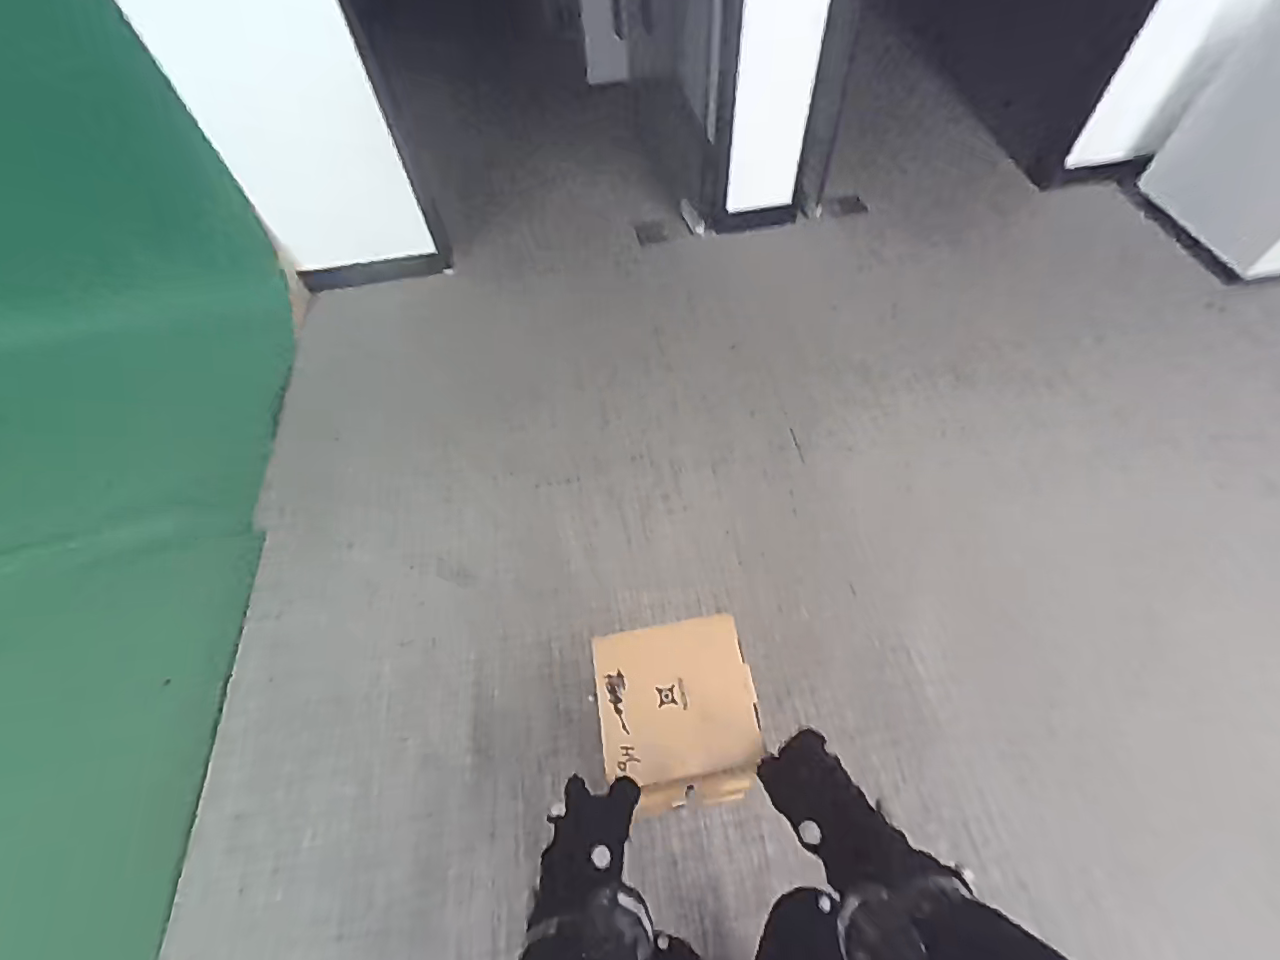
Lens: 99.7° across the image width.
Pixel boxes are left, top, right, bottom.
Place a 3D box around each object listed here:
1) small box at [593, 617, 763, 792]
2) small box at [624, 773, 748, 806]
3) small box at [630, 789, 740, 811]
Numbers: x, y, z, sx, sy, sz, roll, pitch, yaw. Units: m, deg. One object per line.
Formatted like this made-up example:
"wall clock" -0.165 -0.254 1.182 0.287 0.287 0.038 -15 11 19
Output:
"small box" 0.042 0.287 0.682 0.179 0.176 0.168 -8 57 0
"small box" 0.057 0.380 0.816 0.168 0.176 0.179 -10 58 0
"small box" 0.068 0.474 0.947 0.179 0.176 0.168 -7 57 -1
